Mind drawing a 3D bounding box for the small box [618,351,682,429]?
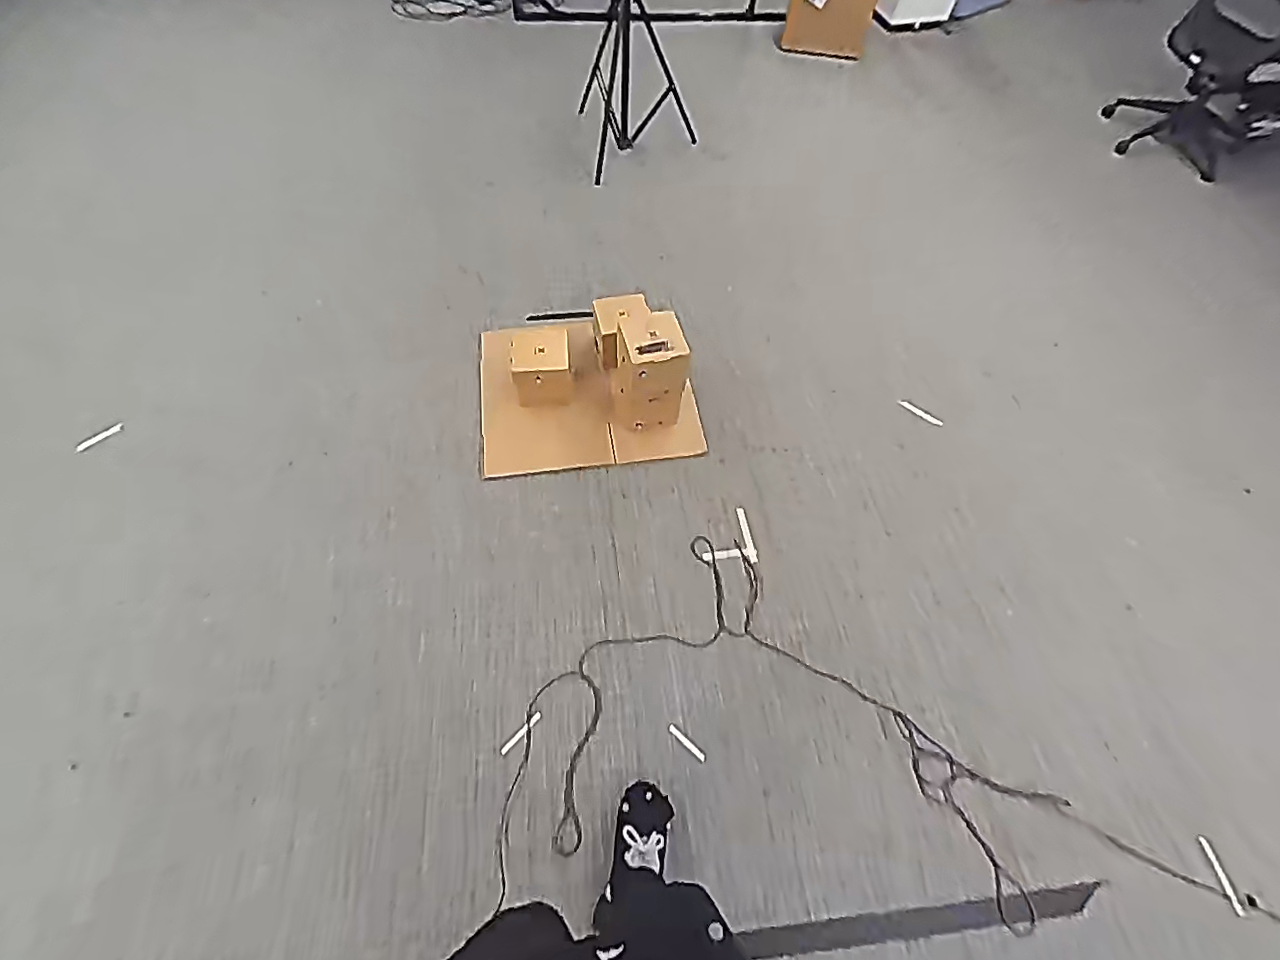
[{"bbox_3d":[0.029,-0.276,1.708,0.168,0.176,0.179,-10,61,-9],"label":"small box"}]

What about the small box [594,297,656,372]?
[{"bbox_3d":[-0.054,-0.490,1.831,0.179,0.176,0.168,-11,60,-8],"label":"small box"}]

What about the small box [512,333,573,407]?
[{"bbox_3d":[-0.307,-0.351,1.734,0.179,0.176,0.168,-4,60,-4],"label":"small box"}]
